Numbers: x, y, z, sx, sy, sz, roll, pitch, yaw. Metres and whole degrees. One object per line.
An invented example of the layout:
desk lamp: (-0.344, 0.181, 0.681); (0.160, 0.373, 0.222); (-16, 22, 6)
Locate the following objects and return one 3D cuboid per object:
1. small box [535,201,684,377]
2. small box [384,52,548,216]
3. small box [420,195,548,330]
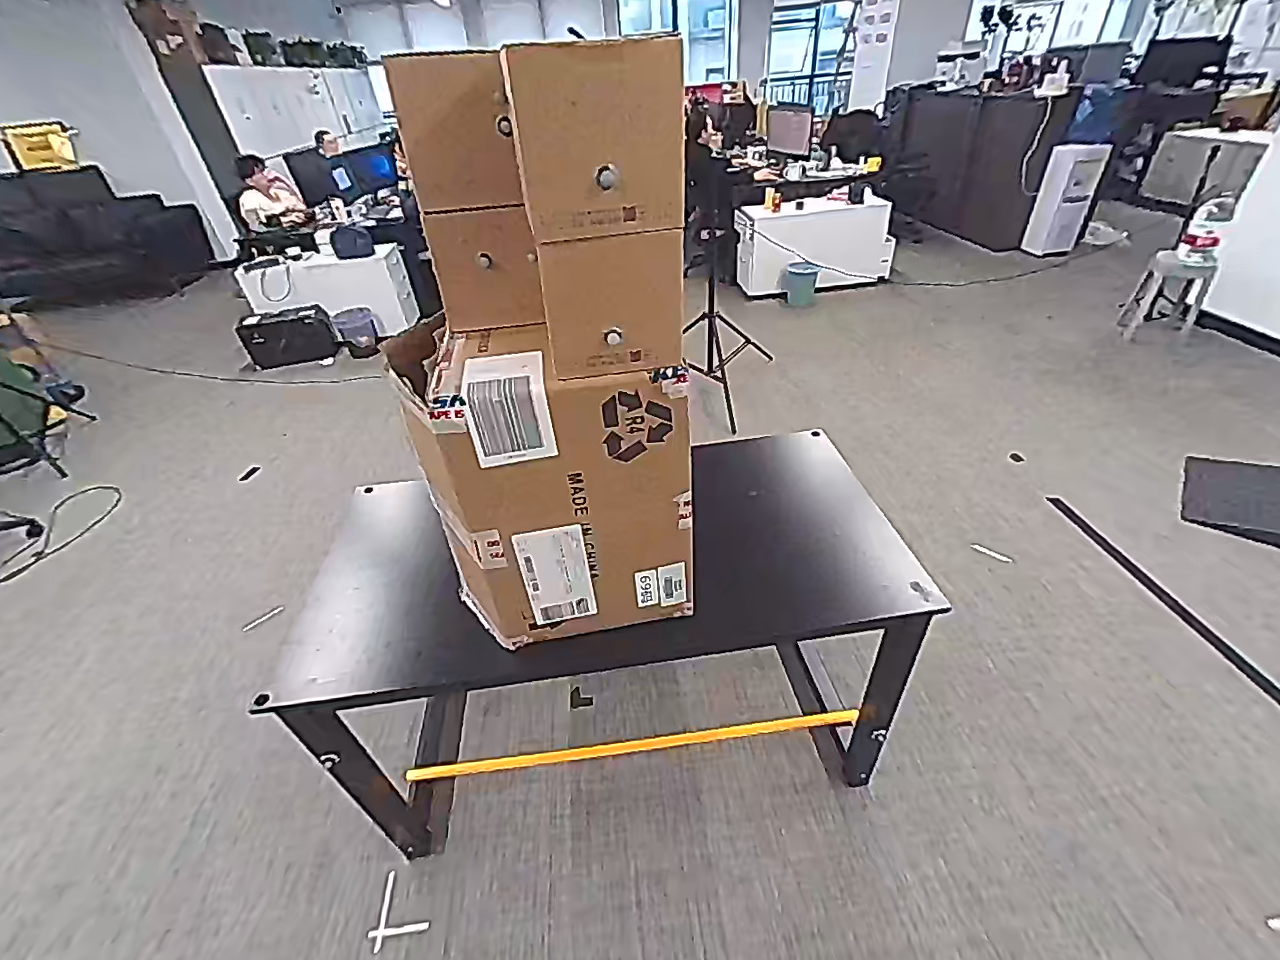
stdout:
small box: (-0.043, -0.251, 0.705); (0.168, 0.176, 0.179); (-8, 39, -6)
small box: (-0.226, -0.474, 0.746); (0.179, 0.176, 0.168); (-11, 35, -9)
small box: (-0.218, -0.343, 0.843); (0.179, 0.176, 0.168); (-9, 36, -6)
